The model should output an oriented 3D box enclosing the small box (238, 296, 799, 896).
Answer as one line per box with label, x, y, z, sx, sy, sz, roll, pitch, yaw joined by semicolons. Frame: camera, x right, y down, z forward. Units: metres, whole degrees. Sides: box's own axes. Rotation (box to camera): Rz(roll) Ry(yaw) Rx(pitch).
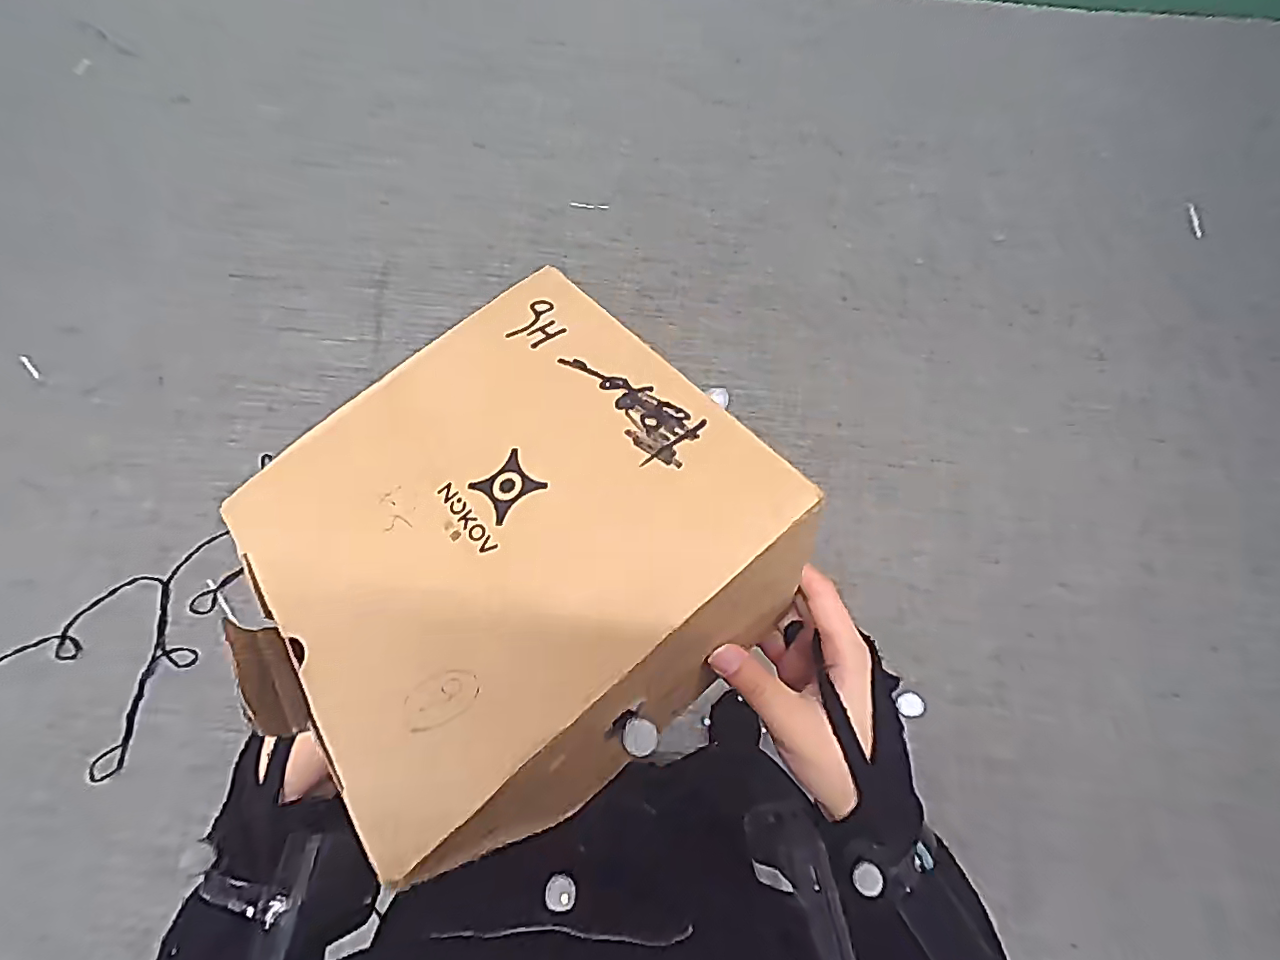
small box;-0.041;0.053;0.277;0.179;0.176;0.168;-41;64;-9
